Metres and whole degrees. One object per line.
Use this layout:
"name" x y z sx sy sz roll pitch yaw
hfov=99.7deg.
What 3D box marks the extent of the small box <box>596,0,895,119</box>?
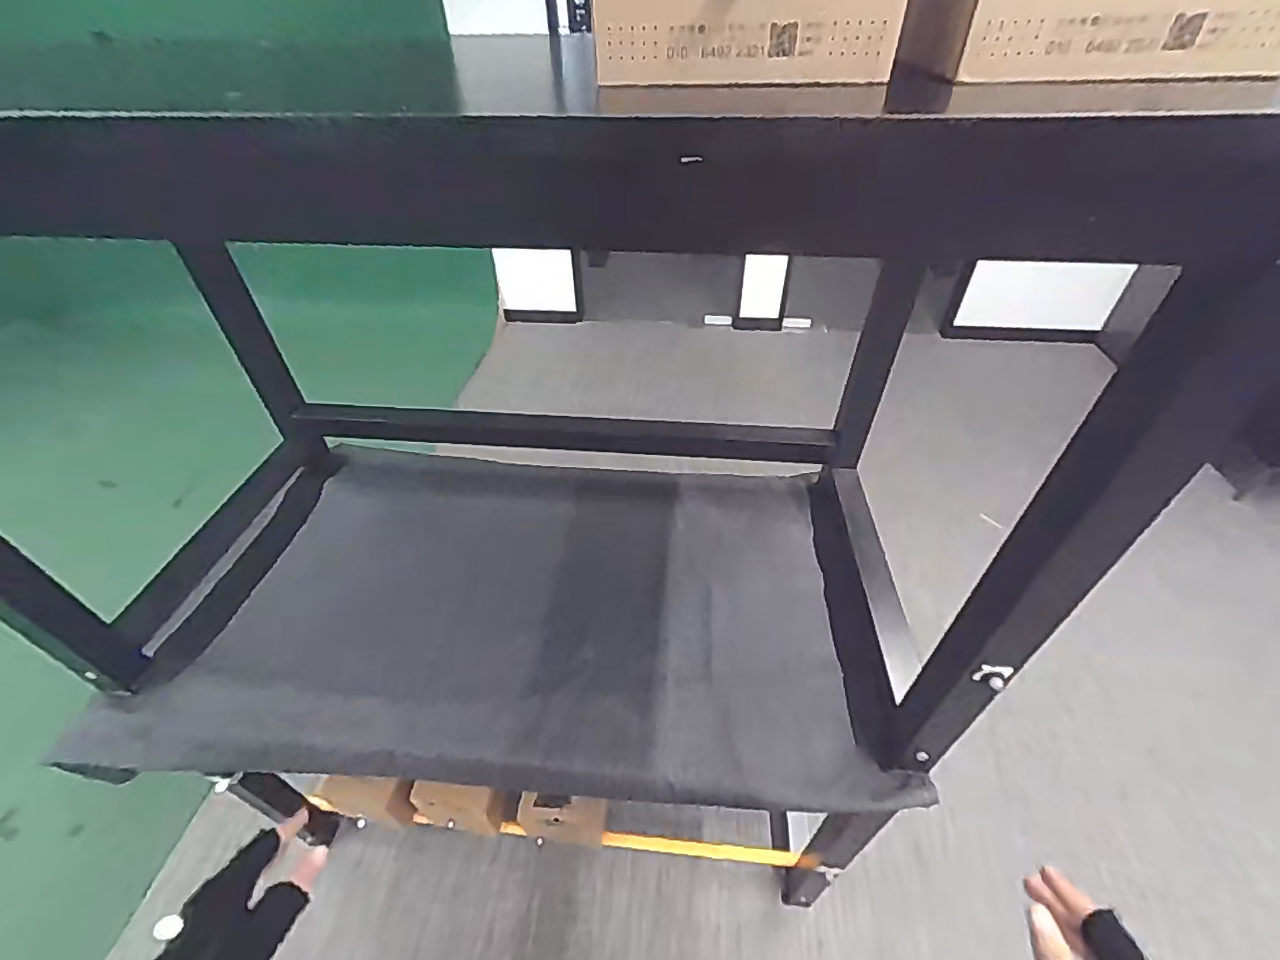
"small box" 0.063 -0.336 0.332 0.168 0.176 0.179 3 41 5
